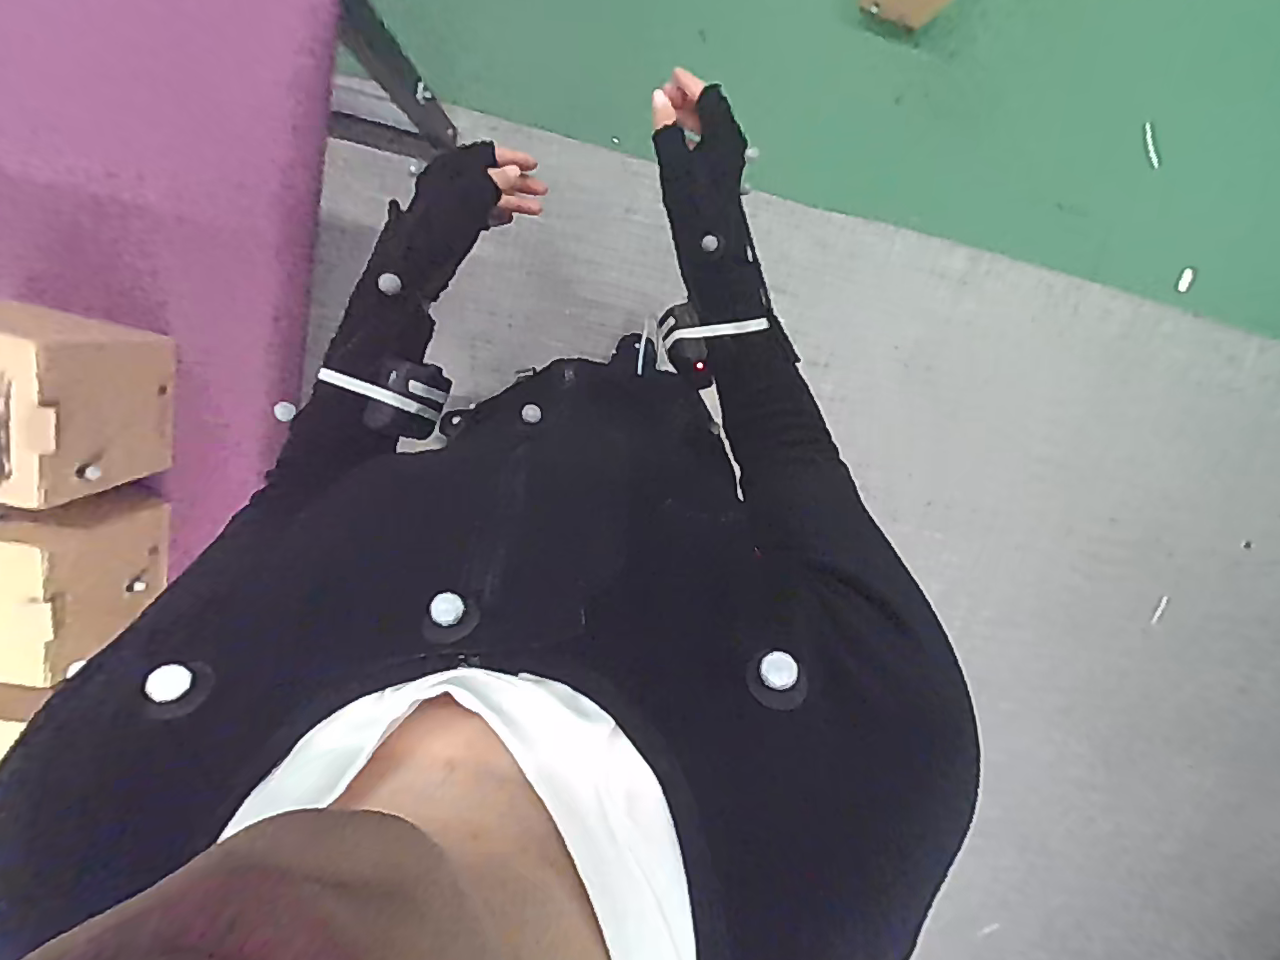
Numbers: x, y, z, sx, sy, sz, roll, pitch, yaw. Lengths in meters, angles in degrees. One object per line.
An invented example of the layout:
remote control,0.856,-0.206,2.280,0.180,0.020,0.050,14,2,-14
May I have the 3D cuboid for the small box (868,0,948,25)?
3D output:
small box,0.610,-1.132,1.157,0.168,0.176,0.179,12,103,-8
